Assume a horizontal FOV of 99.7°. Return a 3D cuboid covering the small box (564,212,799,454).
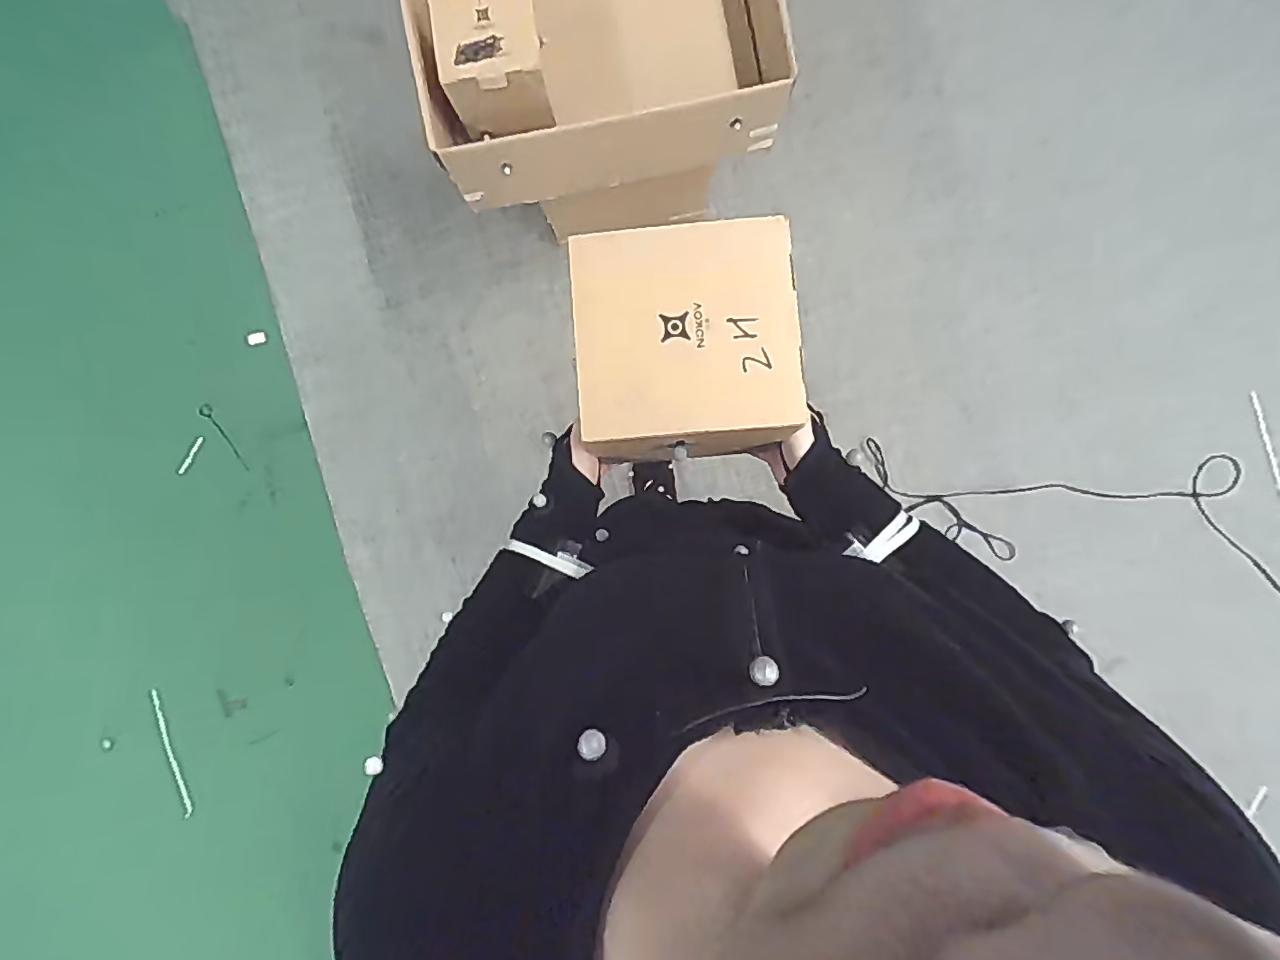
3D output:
[{"bbox_3d":[0.034,-0.117,0.497,0.179,0.176,0.168,-4,87,1],"label":"small box"}]
